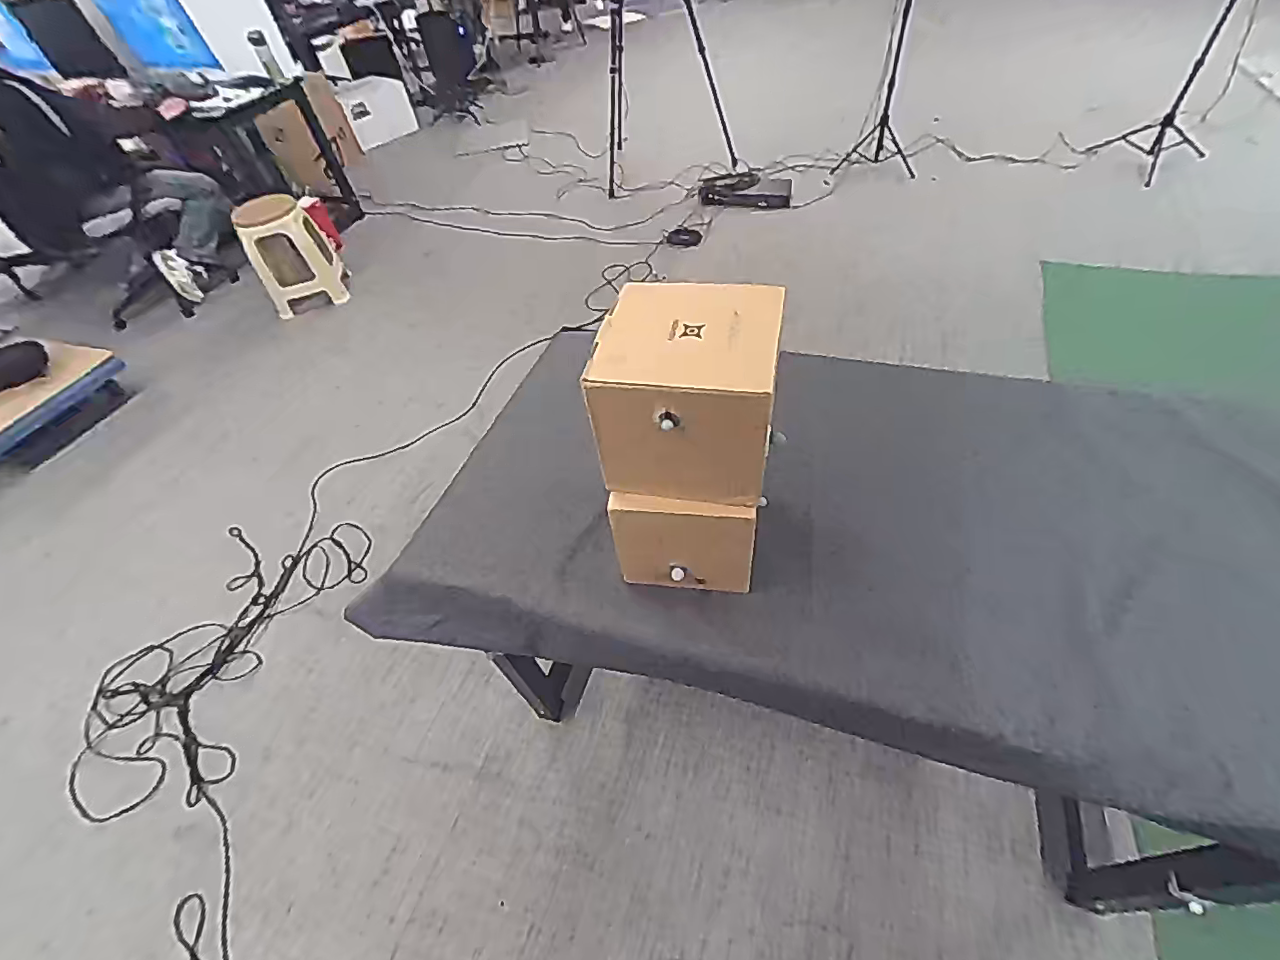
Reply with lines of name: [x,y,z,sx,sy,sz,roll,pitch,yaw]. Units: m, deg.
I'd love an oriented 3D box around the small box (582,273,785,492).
small box: [0.055,-0.103,0.589,0.179,0.176,0.168,7,53,12]

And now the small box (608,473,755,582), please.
small box: [0.064,0.010,0.706,0.168,0.176,0.179,3,52,10]
